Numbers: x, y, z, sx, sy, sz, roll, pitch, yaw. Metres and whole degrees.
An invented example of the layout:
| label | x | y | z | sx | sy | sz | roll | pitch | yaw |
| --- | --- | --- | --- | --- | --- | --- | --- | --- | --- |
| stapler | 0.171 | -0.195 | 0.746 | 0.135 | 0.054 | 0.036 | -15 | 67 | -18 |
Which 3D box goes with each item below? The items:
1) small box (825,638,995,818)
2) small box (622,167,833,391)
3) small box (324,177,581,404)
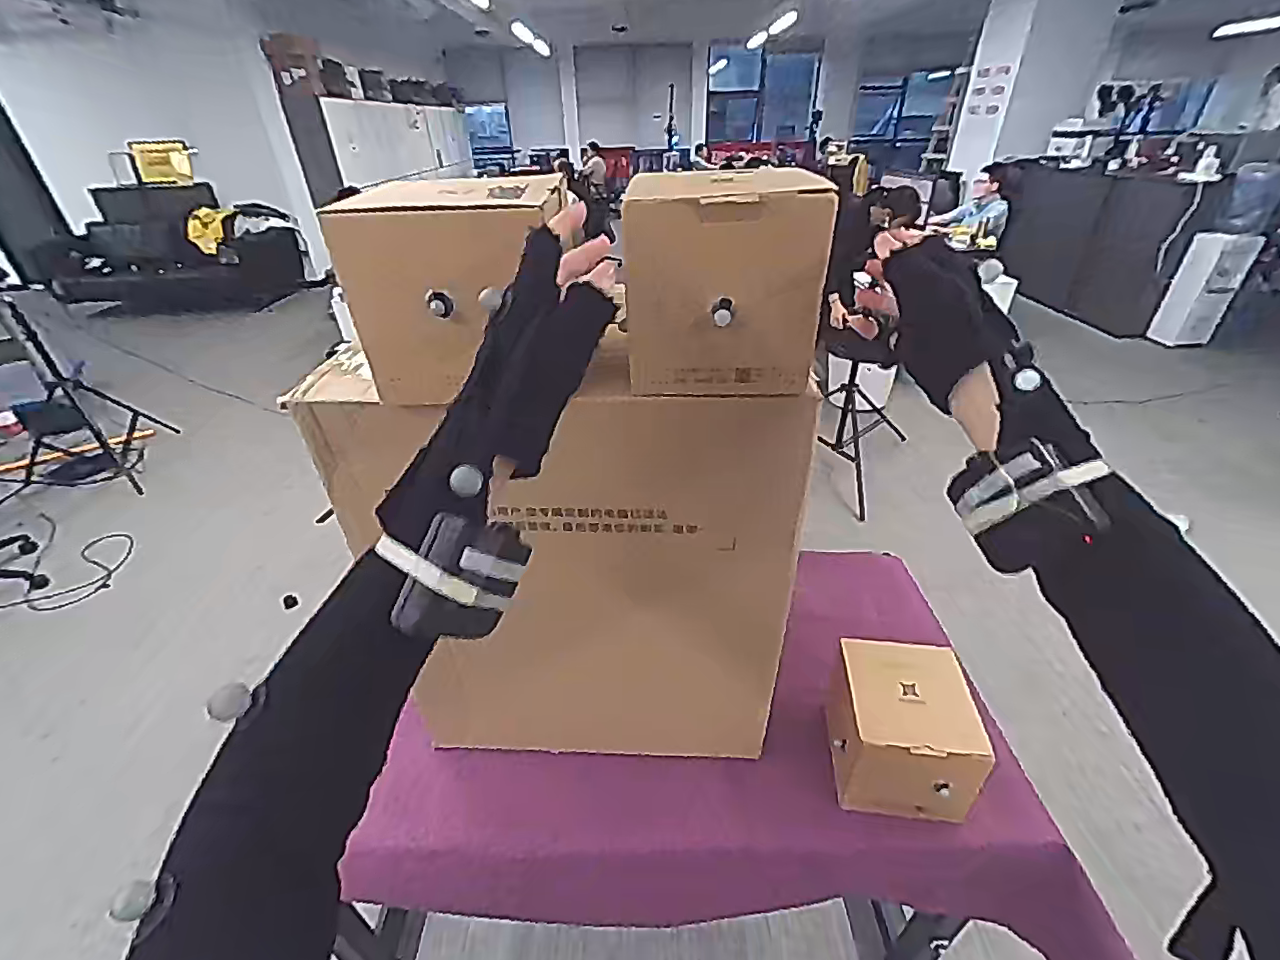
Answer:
| label | x | y | z | sx | sy | sz | roll | pitch | yaw |
| --- | --- | --- | --- | --- | --- | --- | --- | --- | --- |
| small box | 0.380 | 0.364 | 0.798 | 0.168 | 0.176 | 0.179 | 3 | 32 | 7 |
| small box | 0.076 | -0.196 | 0.527 | 0.168 | 0.176 | 0.179 | 1 | 35 | 4 |
| small box | -0.154 | -0.184 | 0.523 | 0.179 | 0.176 | 0.168 | -2 | 35 | 1 |
